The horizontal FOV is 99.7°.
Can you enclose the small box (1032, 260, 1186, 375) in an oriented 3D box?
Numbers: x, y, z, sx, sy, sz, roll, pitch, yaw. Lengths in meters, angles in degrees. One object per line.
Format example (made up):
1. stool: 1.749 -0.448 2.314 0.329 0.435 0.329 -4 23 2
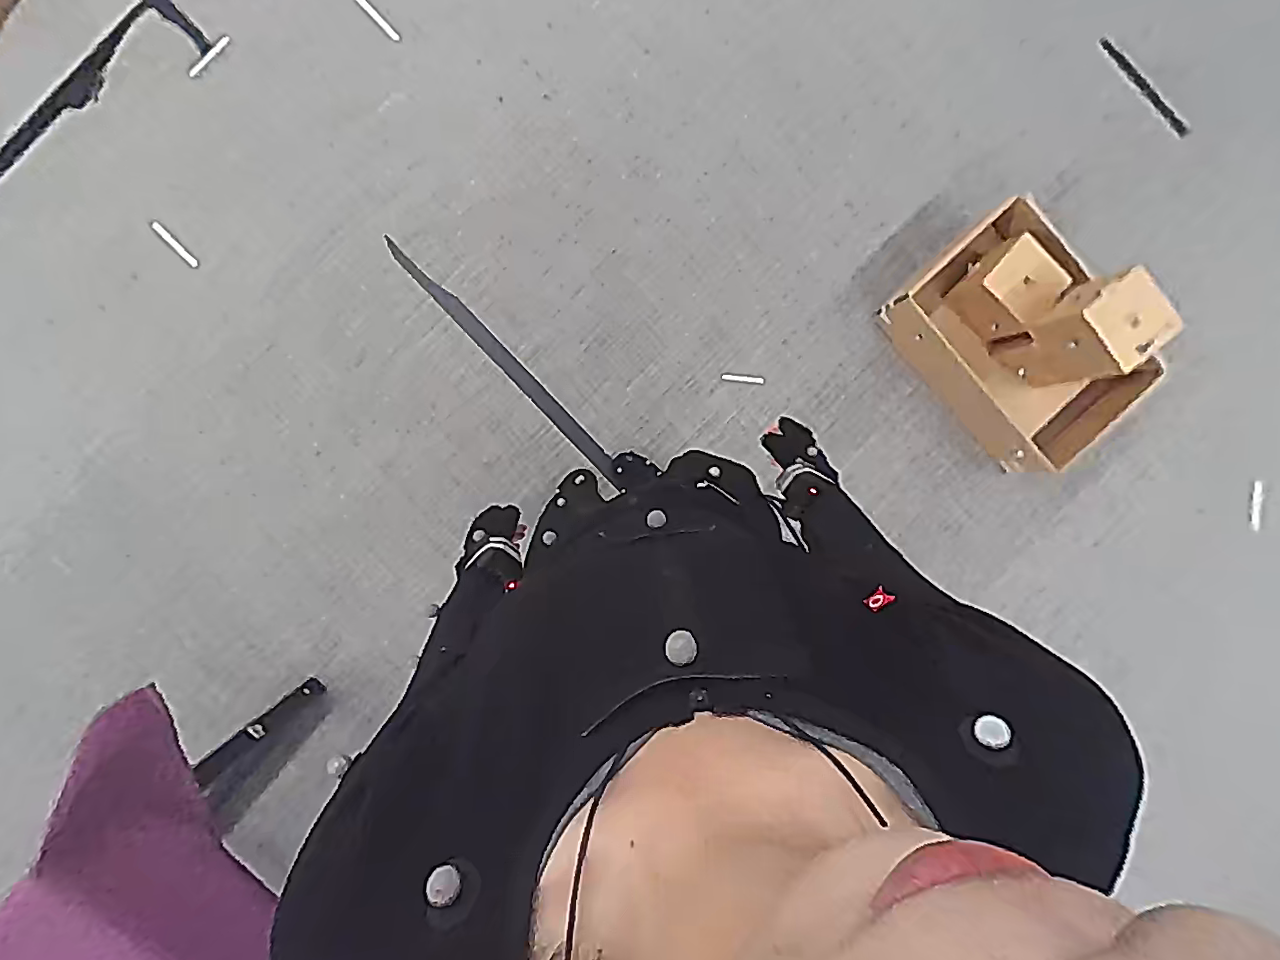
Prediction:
1. small box: 1.074 -0.366 1.256 0.168 0.176 0.179 -40 92 2
